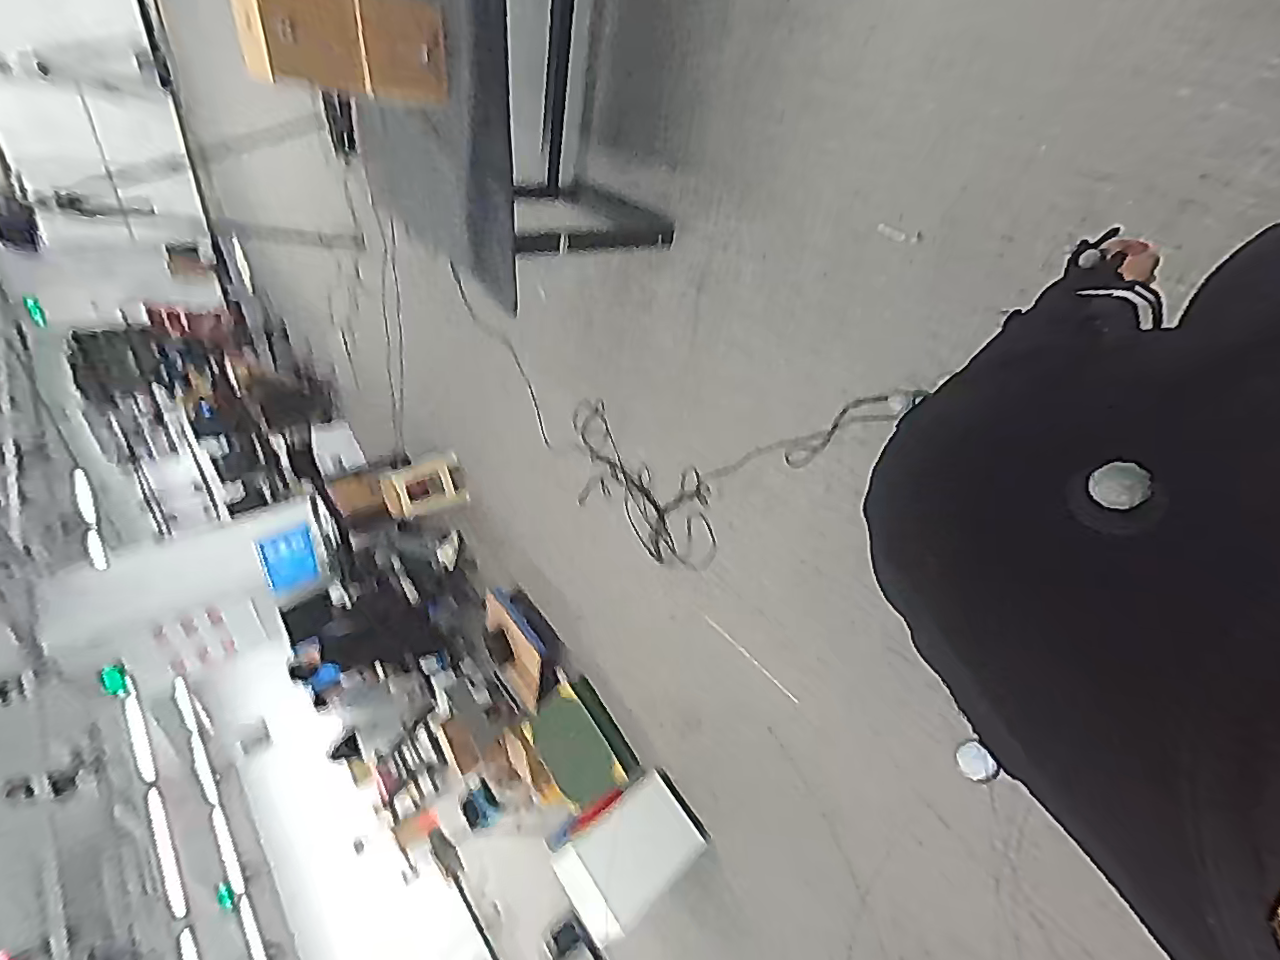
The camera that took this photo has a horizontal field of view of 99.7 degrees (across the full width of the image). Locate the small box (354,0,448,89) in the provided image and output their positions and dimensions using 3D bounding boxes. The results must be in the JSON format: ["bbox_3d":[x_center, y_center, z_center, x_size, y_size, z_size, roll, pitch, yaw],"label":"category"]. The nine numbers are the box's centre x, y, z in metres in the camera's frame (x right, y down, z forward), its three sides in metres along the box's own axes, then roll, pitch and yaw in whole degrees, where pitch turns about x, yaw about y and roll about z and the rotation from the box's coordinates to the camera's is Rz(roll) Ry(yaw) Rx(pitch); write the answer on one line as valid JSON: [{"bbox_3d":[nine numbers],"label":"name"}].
[{"bbox_3d":[-0.516,-0.913,1.108,0.179,0.176,0.168,32,131,37],"label":"small box"}]

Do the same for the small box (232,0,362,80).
[{"bbox_3d":[-0.645,-0.873,1.016,0.168,0.176,0.179,35,132,33],"label":"small box"}]
